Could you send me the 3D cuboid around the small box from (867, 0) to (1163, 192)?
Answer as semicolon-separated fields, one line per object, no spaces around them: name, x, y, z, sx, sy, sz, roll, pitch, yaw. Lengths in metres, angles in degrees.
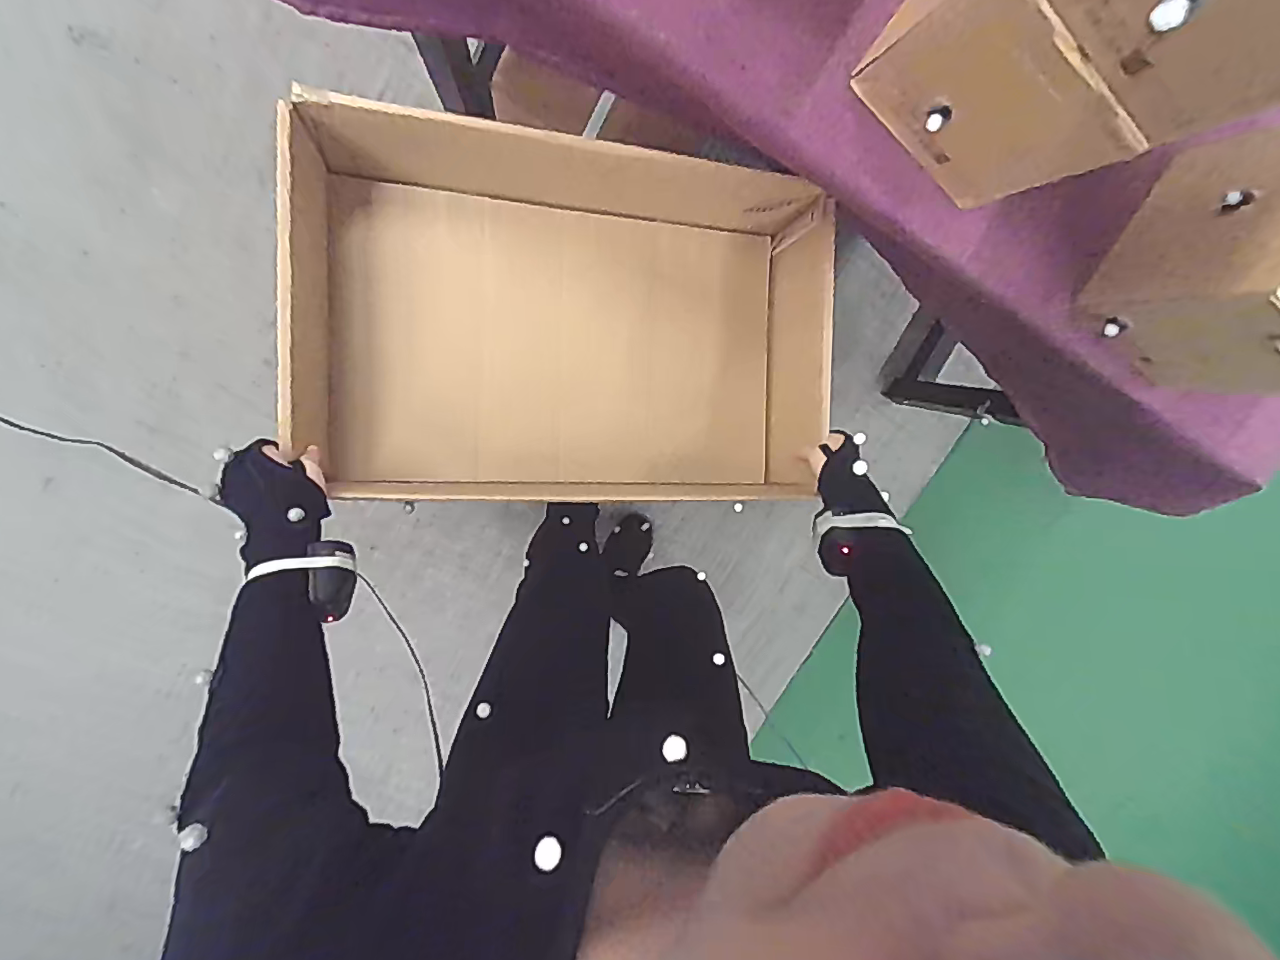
small box;0.314;-0.359;0.407;0.168;0.176;0.179;34;98;-17

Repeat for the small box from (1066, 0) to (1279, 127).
small box;0.348;-0.319;0.251;0.168;0.176;0.179;35;97;-17

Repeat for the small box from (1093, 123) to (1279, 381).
small box;0.578;-0.201;0.499;0.168;0.176;0.179;29;98;-17
